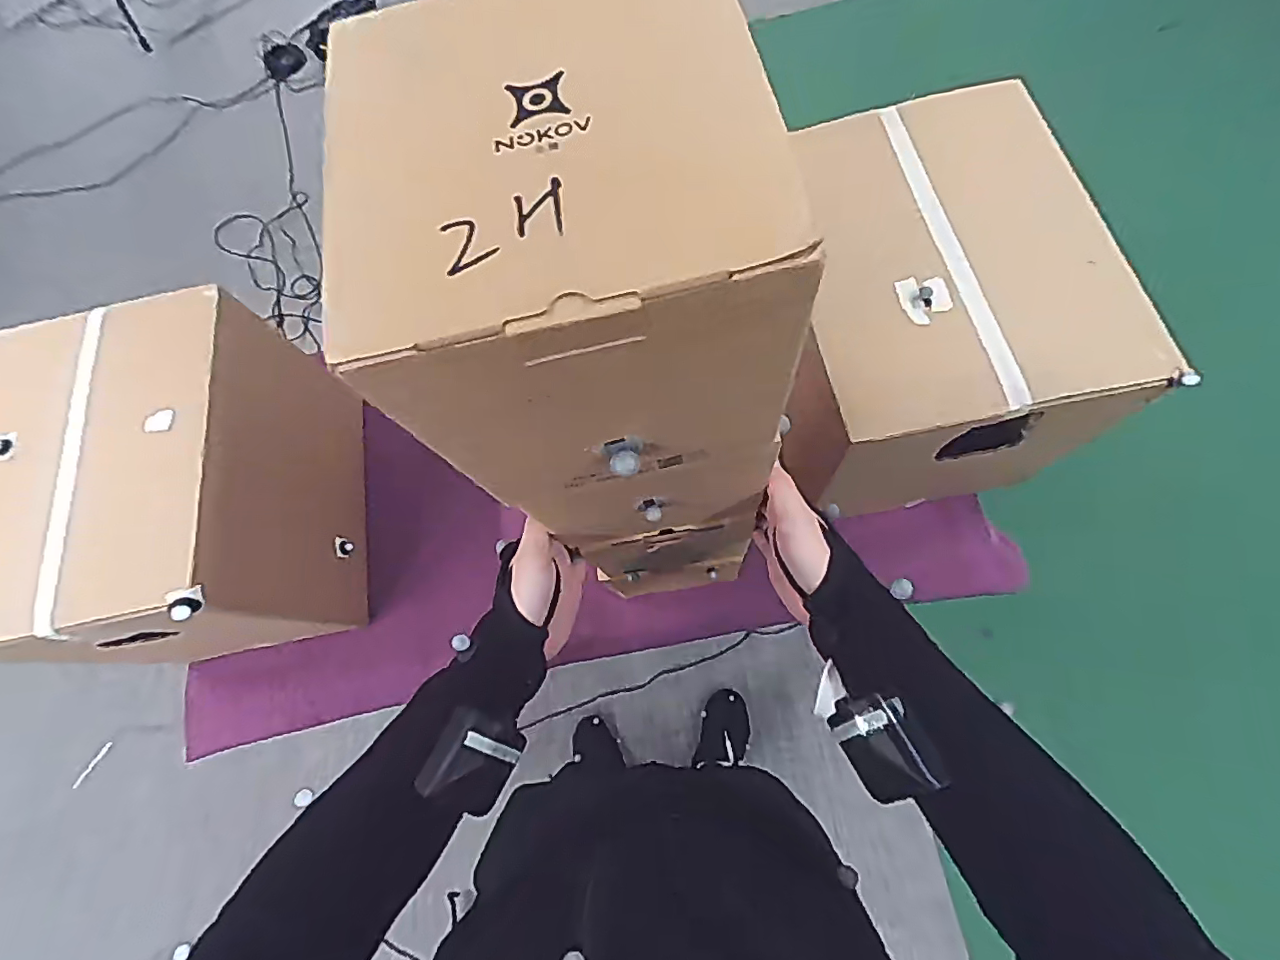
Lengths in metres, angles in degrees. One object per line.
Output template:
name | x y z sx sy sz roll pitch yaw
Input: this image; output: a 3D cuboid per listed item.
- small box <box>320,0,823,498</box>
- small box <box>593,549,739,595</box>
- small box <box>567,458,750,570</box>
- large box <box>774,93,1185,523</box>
small box | -0.027 -0.107 0.273 0.168 0.176 0.179 -12 71 4
small box | 0.031 0.056 0.736 0.179 0.176 0.168 -9 71 3
small box | 0.018 -0.005 0.583 0.168 0.176 0.179 -10 70 3
large box | 0.337 -0.193 0.711 0.320 0.320 0.408 -11 71 5
